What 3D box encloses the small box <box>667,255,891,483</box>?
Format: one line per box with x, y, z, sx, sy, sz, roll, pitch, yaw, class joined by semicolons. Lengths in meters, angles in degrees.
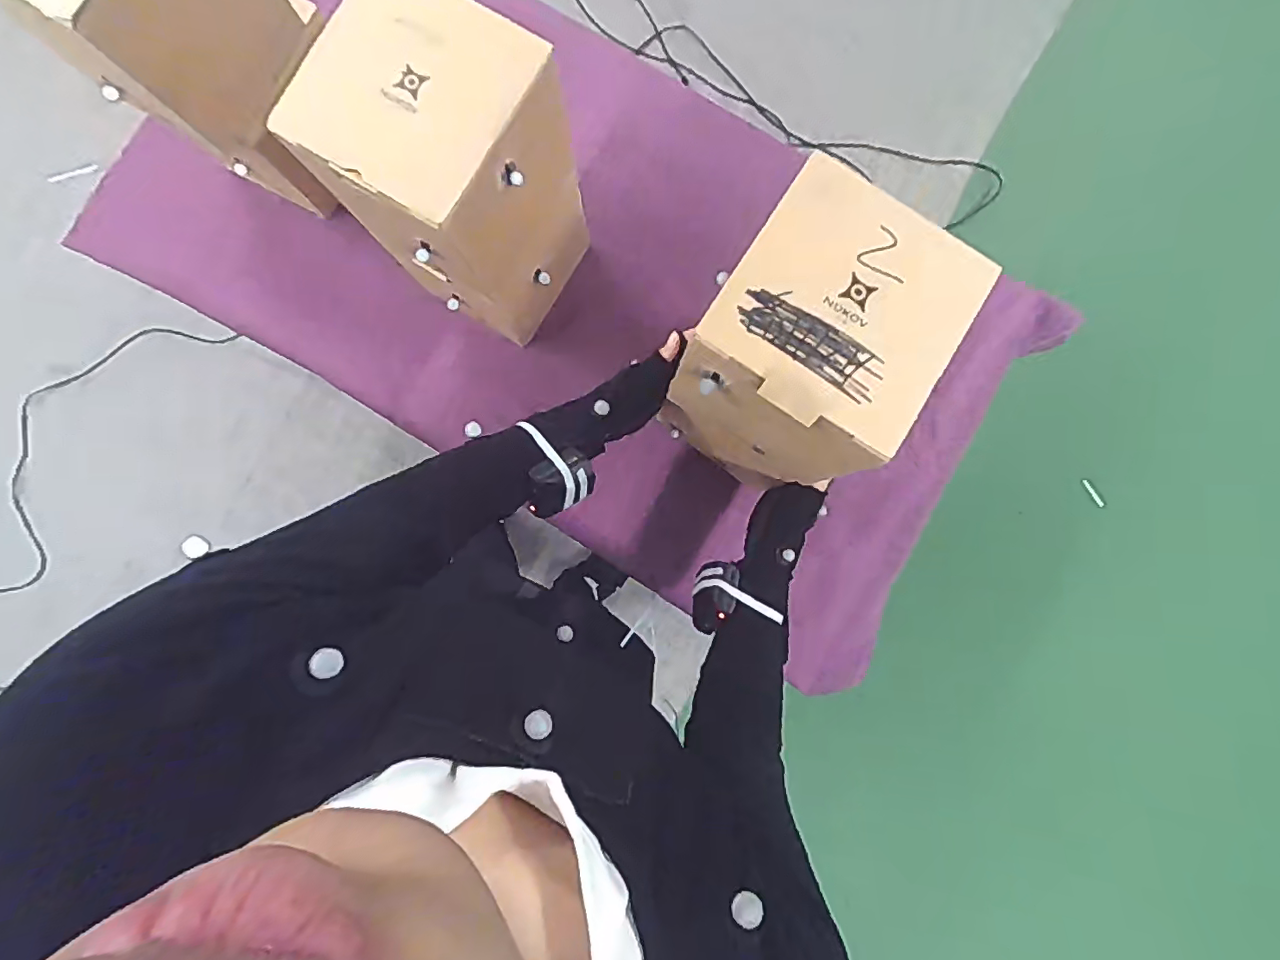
0.144;-0.112;0.633;0.168;0.176;0.179;37;83;1;small box

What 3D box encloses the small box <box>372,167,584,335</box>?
-0.182;-0.307;0.670;0.168;0.176;0.179;29;87;2;small box

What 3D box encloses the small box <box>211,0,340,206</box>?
-0.465;-0.491;0.675;0.168;0.176;0.179;27;89;0;small box

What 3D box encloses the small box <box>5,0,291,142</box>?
-0.477;-0.476;0.510;0.168;0.176;0.179;29;89;1;small box

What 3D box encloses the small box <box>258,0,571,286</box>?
-0.177;-0.310;0.488;0.168;0.176;0.179;31;88;1;small box
